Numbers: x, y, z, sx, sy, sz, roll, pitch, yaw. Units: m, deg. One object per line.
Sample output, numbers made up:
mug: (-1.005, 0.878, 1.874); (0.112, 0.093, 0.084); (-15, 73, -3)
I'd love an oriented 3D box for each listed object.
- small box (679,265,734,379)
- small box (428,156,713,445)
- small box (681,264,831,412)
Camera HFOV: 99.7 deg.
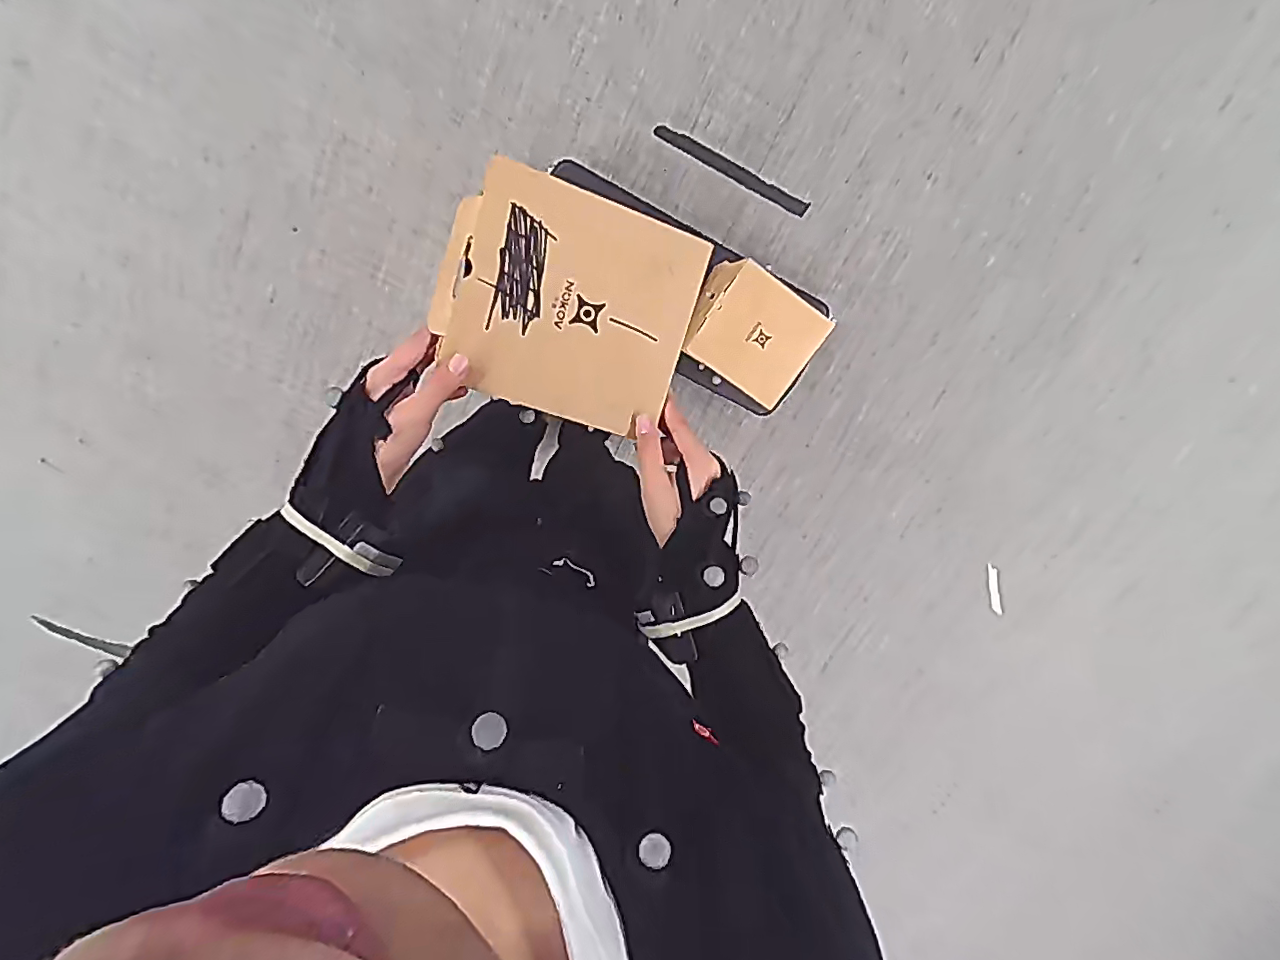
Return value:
small box: (0.175, -0.299, 1.074); (0.168, 0.176, 0.179); (30, 105, -9)
small box: (-0.064, -0.138, 0.479); (0.179, 0.176, 0.168); (17, 95, -14)
small box: (0.185, -0.244, 0.920); (0.179, 0.176, 0.168); (33, 106, -9)
